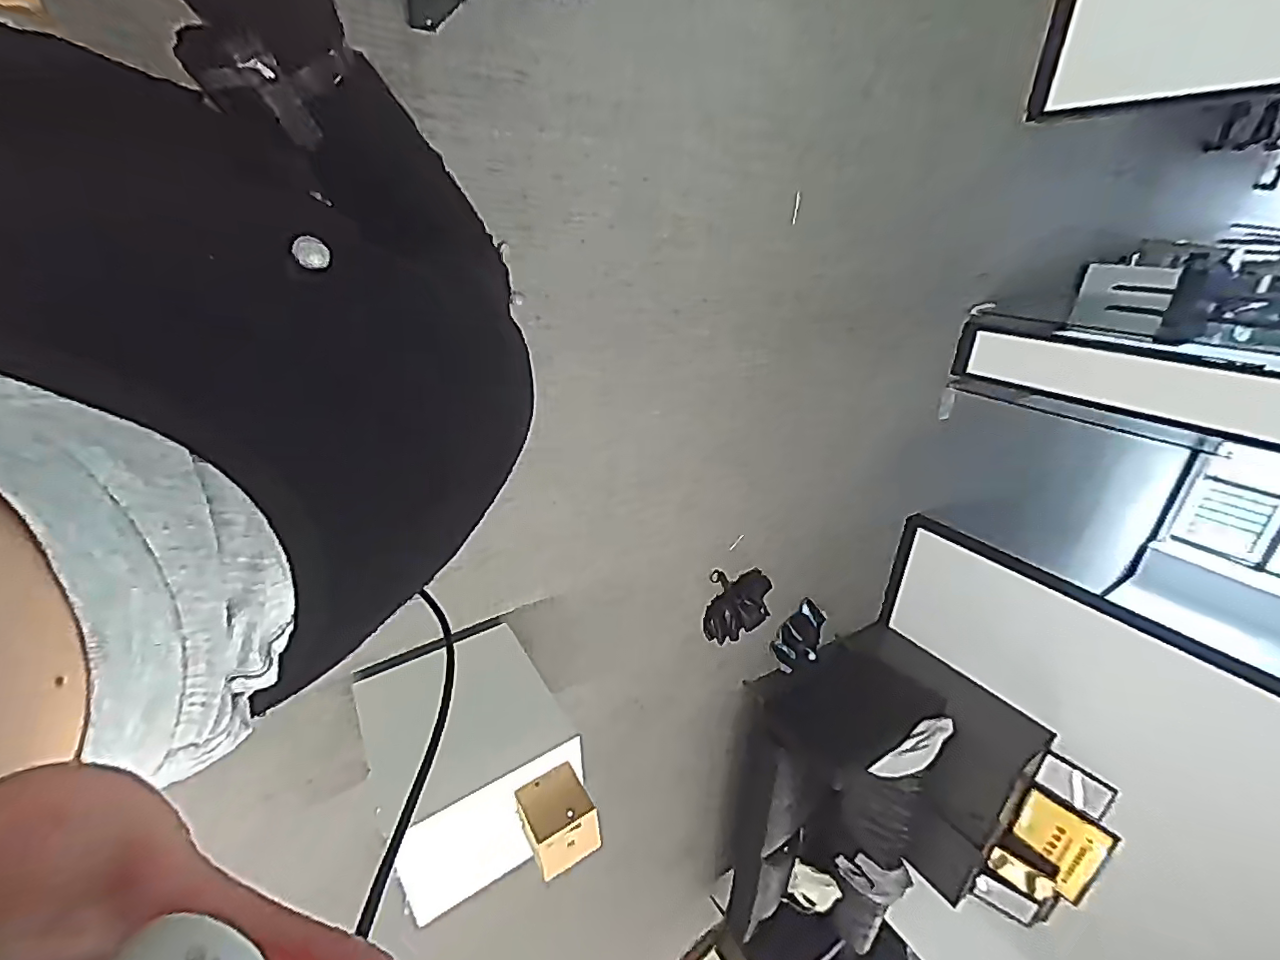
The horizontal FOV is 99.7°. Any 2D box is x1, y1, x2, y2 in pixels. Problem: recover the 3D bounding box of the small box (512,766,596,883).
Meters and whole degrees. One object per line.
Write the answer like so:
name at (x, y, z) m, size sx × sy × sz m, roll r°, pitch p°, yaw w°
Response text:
small box at (-0.231, 0.916, 1.451) m, size 0.168 × 0.176 × 0.179 m, roll -18°, pitch 123°, yaw -28°
